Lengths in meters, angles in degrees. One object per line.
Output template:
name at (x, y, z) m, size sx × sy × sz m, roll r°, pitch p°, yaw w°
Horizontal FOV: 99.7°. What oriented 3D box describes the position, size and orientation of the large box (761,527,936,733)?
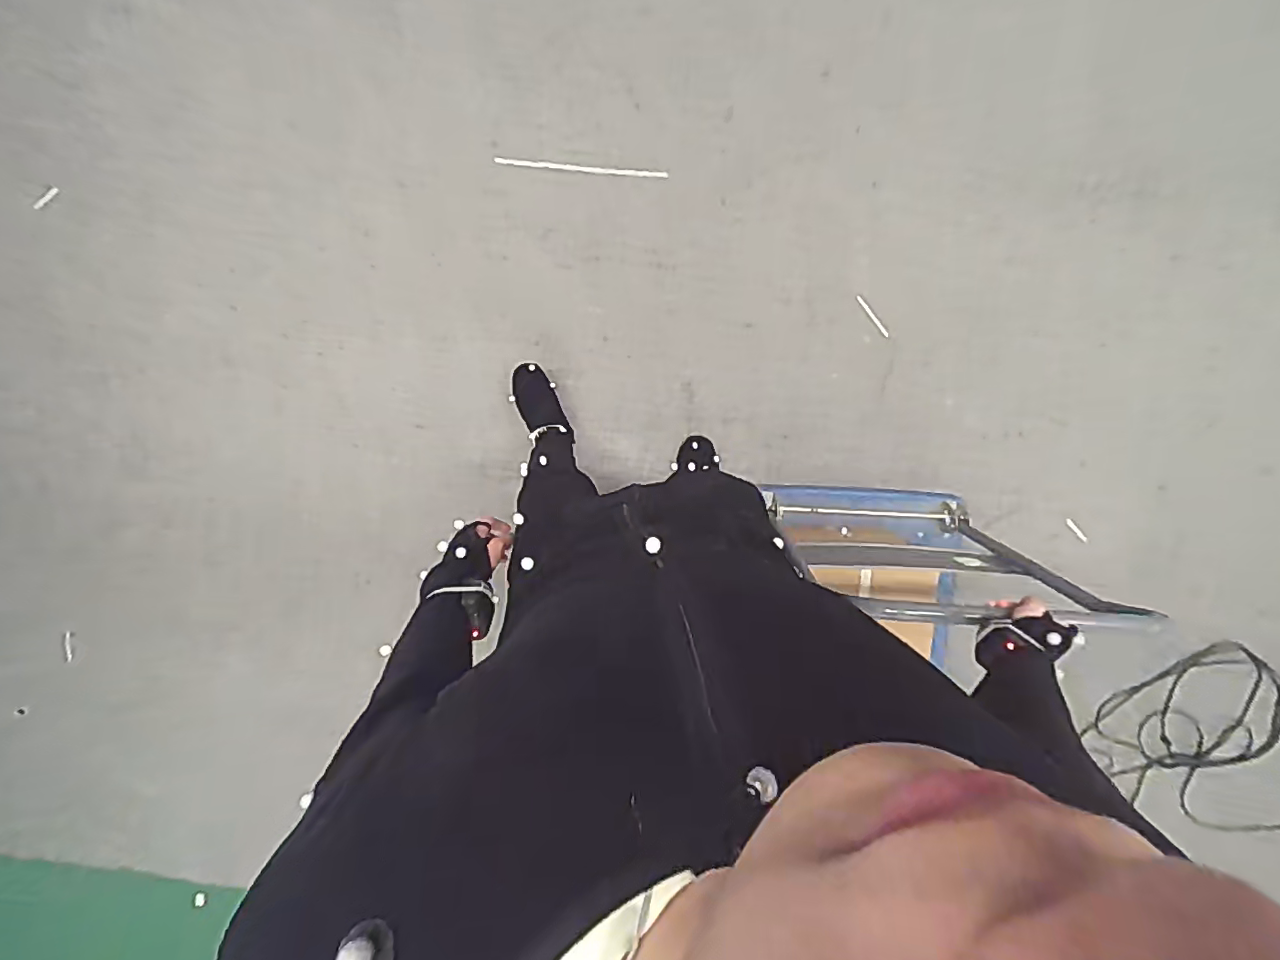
large box at (0.483, 0.344, 1.330) m, size 0.320 × 0.320 × 0.408 m, roll 1°, pitch 100°, yaw 3°
